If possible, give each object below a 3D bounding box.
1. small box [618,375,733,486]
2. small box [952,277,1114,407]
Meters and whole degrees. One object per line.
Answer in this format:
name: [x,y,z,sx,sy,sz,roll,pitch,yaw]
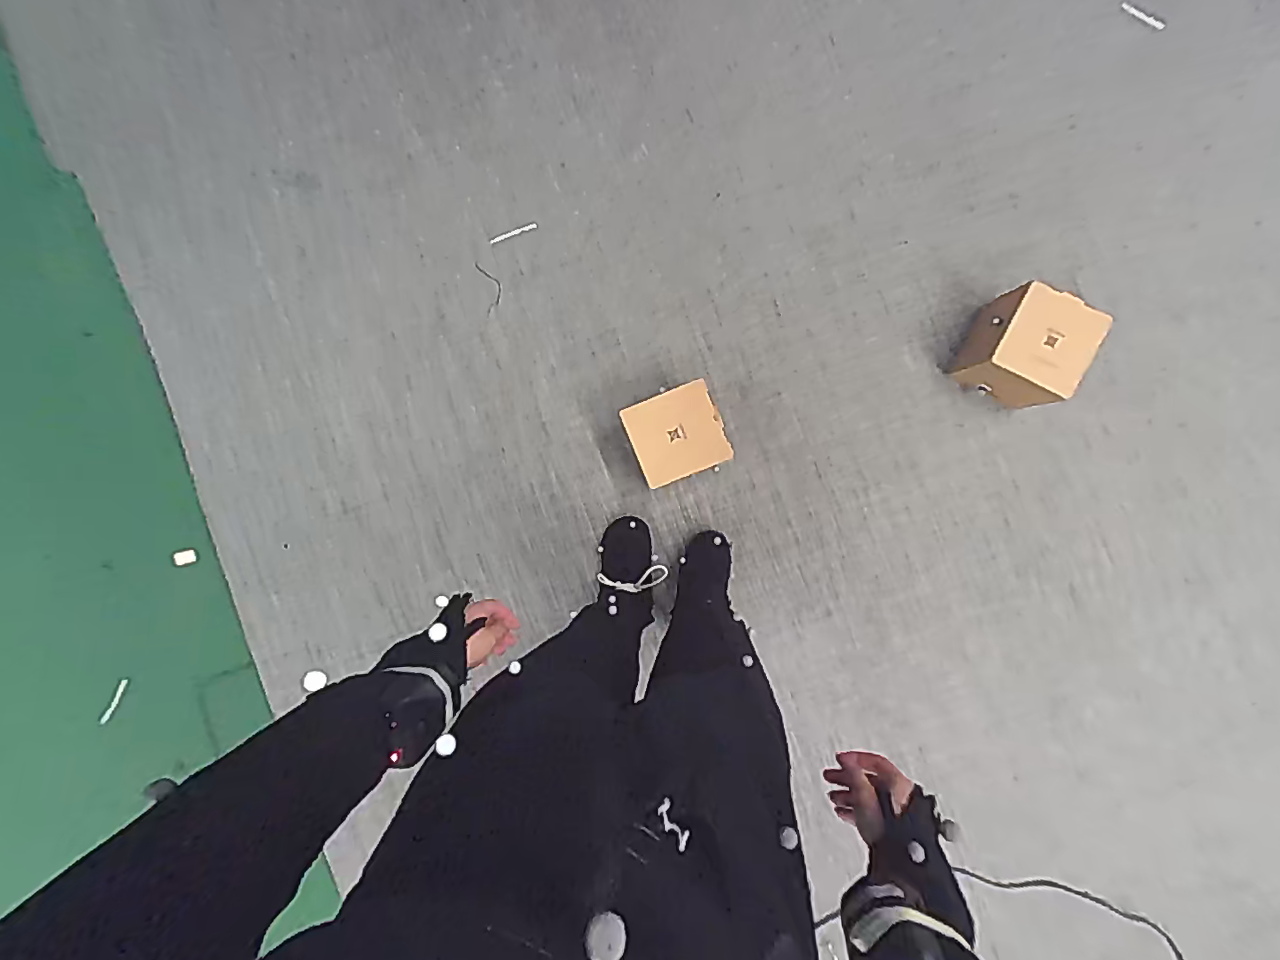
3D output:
small box: [0.069,-0.092,1.097,0.179,0.176,0.168,-22,90,1]
small box: [0.765,-0.264,1.076,0.168,0.176,0.179,27,92,2]
